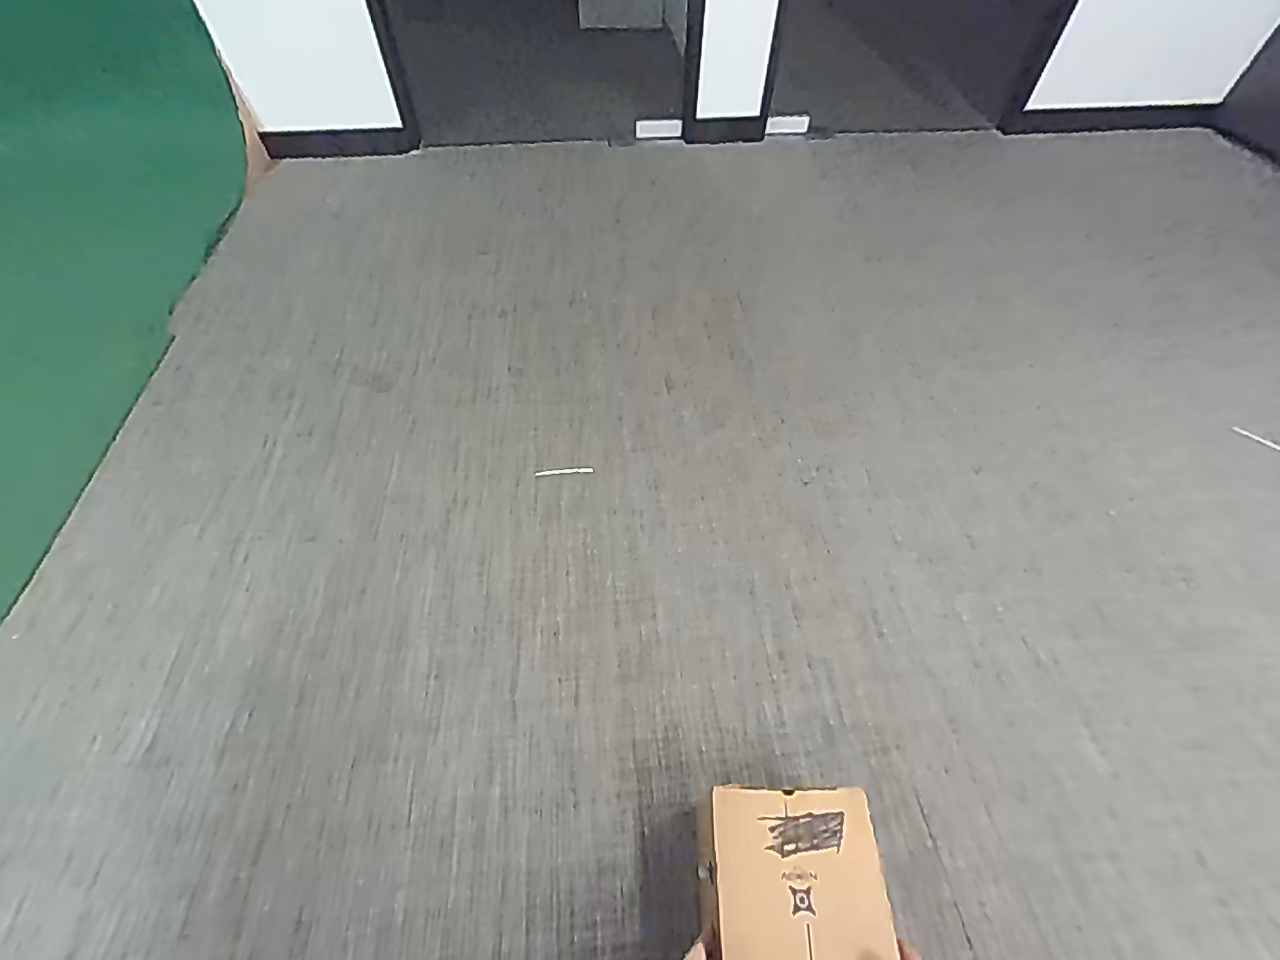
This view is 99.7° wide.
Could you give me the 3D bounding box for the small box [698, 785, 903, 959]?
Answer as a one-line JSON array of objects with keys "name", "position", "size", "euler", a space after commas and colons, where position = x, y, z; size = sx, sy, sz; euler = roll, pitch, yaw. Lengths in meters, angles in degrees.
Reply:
[{"name": "small box", "position": [0.157, 0.444, 0.588], "size": [0.168, 0.176, 0.179], "euler": [1, 54, -1]}]
